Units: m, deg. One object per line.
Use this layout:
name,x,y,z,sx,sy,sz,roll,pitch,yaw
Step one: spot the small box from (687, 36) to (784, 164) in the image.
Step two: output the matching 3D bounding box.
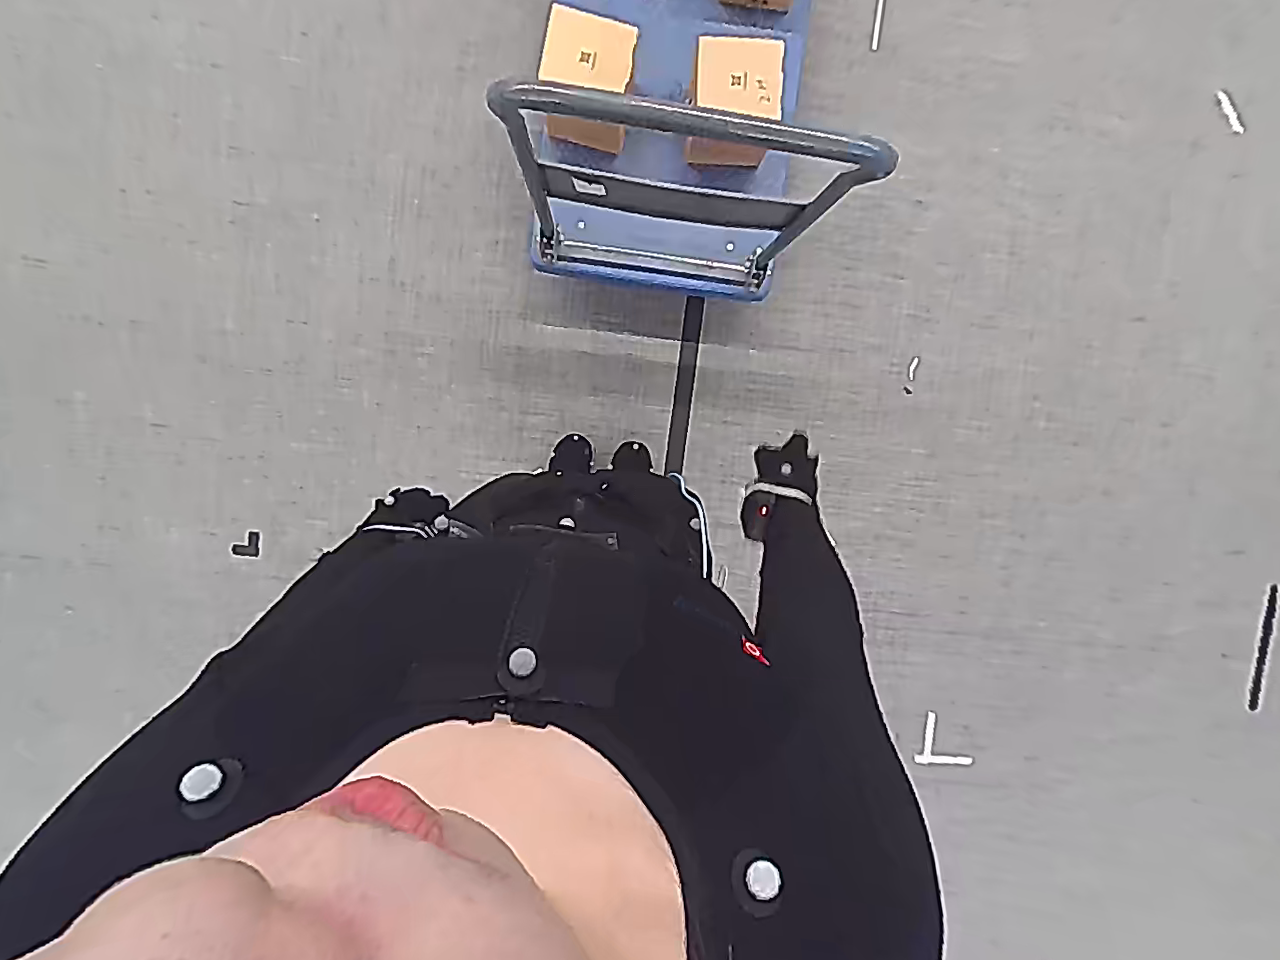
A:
small box,0.197,-0.810,1.168,0.179,0.176,0.168,1,96,-3

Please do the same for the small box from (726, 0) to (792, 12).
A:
small box,0.272,-1.153,1.139,0.168,0.176,0.179,7,96,-3

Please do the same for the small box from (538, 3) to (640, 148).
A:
small box,-0.107,-0.844,1.150,0.179,0.176,0.168,12,94,-5
